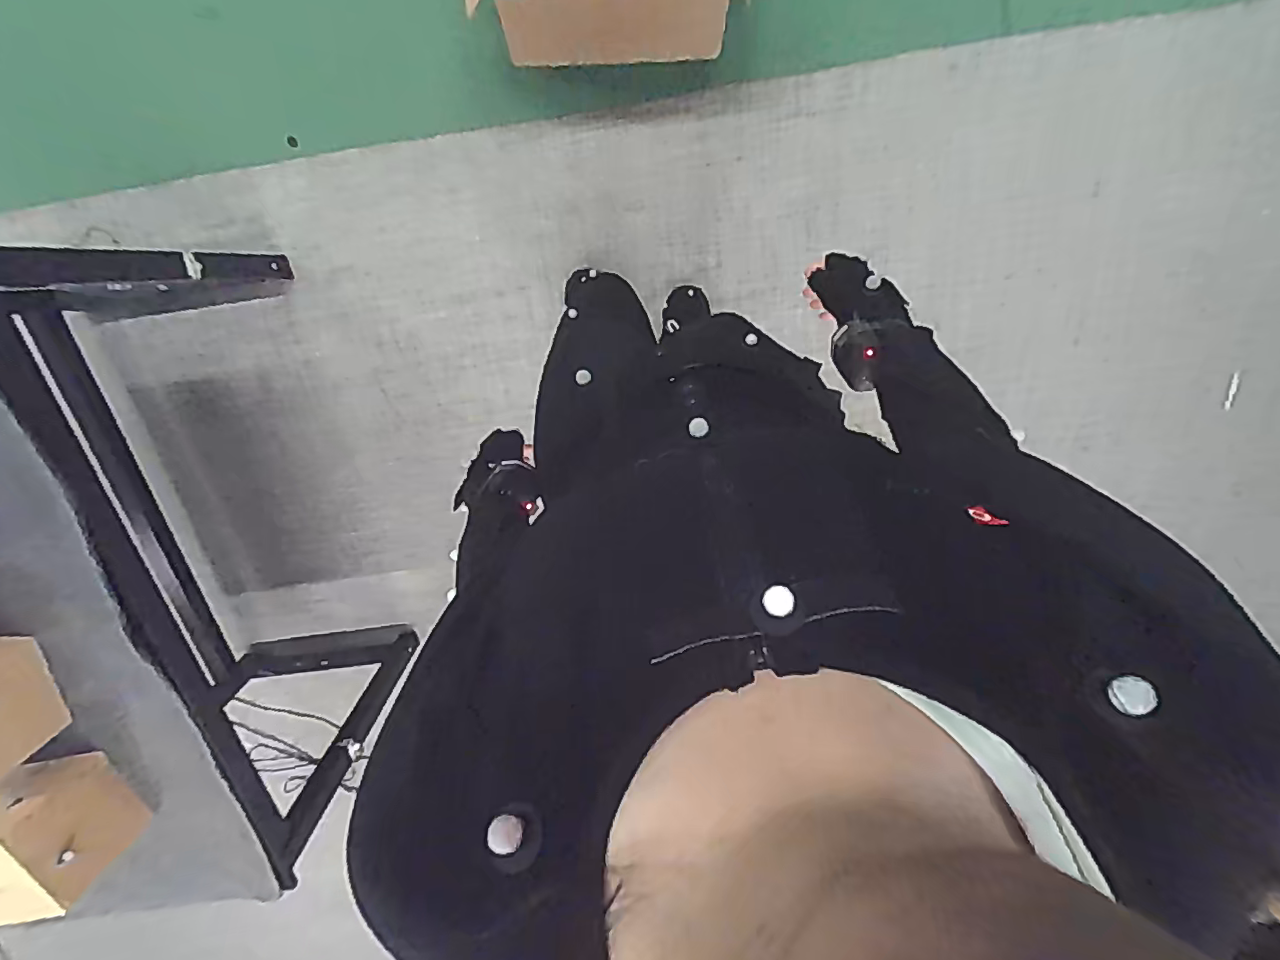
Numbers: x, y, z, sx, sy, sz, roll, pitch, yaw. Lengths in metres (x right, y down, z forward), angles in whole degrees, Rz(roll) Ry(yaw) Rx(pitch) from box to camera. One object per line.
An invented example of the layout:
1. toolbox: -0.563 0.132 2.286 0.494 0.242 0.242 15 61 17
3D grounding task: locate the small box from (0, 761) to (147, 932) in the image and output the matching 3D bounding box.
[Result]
1. small box: -0.986 0.588 0.883 0.168 0.176 0.179 -13 111 4
